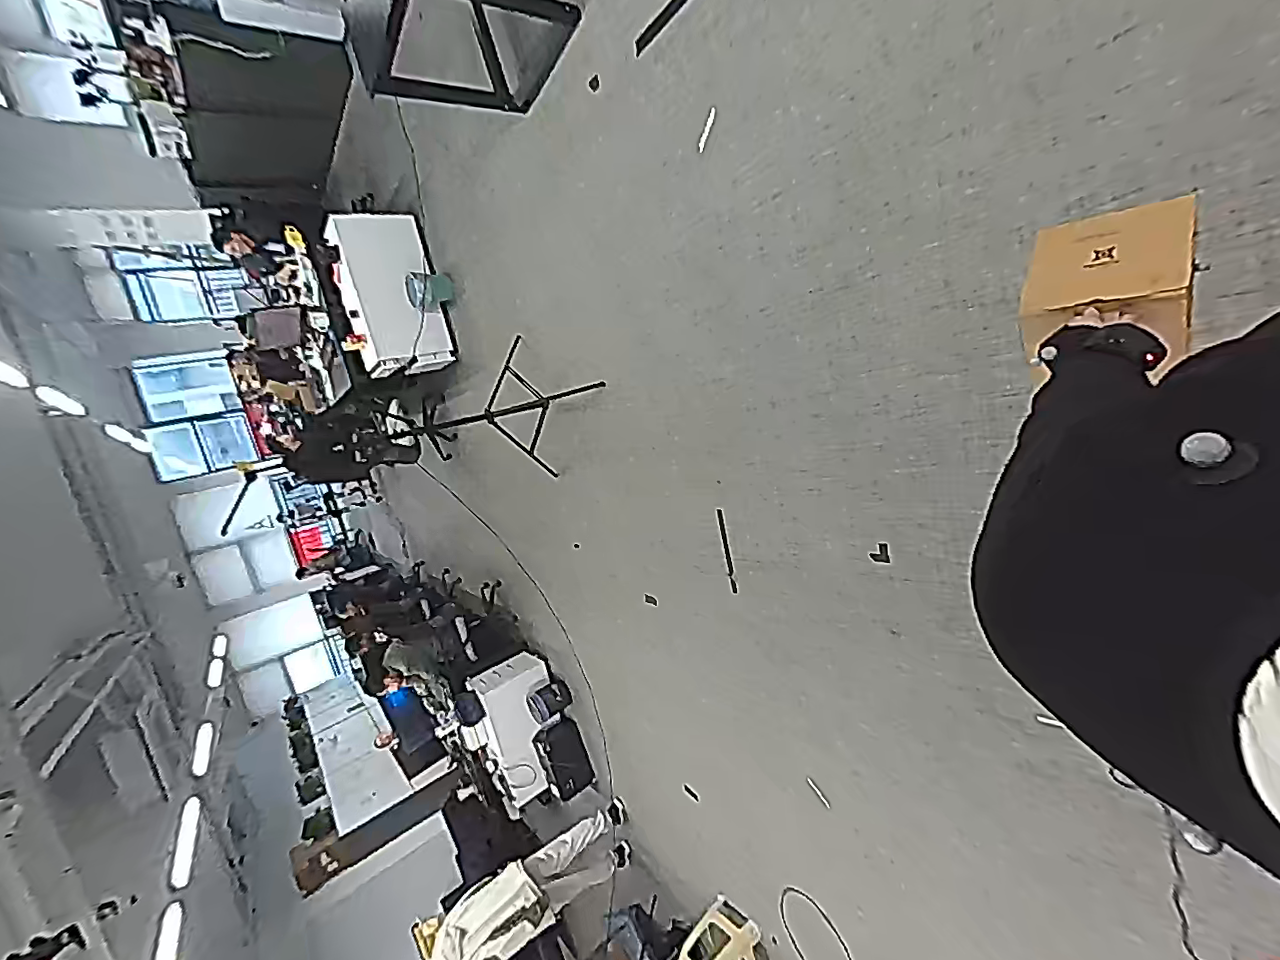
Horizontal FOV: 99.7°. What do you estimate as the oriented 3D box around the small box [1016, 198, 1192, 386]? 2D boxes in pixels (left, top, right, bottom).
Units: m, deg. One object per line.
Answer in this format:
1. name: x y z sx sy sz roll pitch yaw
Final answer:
1. small box: 0.650 -0.246 0.757 0.168 0.179 0.176 4 148 45
